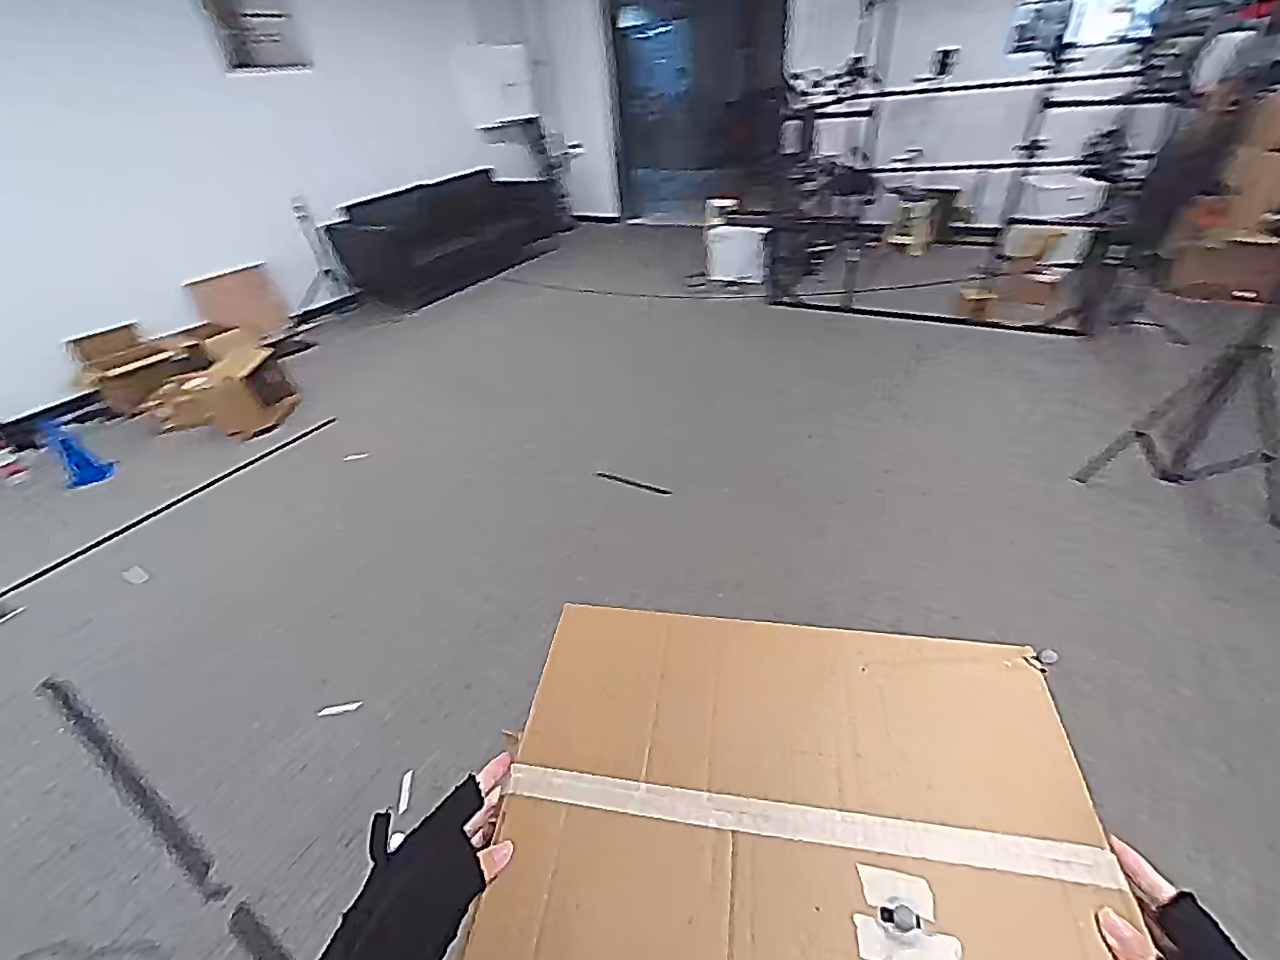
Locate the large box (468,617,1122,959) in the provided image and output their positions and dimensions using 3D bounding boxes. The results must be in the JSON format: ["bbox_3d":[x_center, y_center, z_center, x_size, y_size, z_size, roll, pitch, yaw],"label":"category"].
[{"bbox_3d":[0.108,0.352,0.489,0.408,0.320,0.320,3,44,9],"label":"large box"}]
